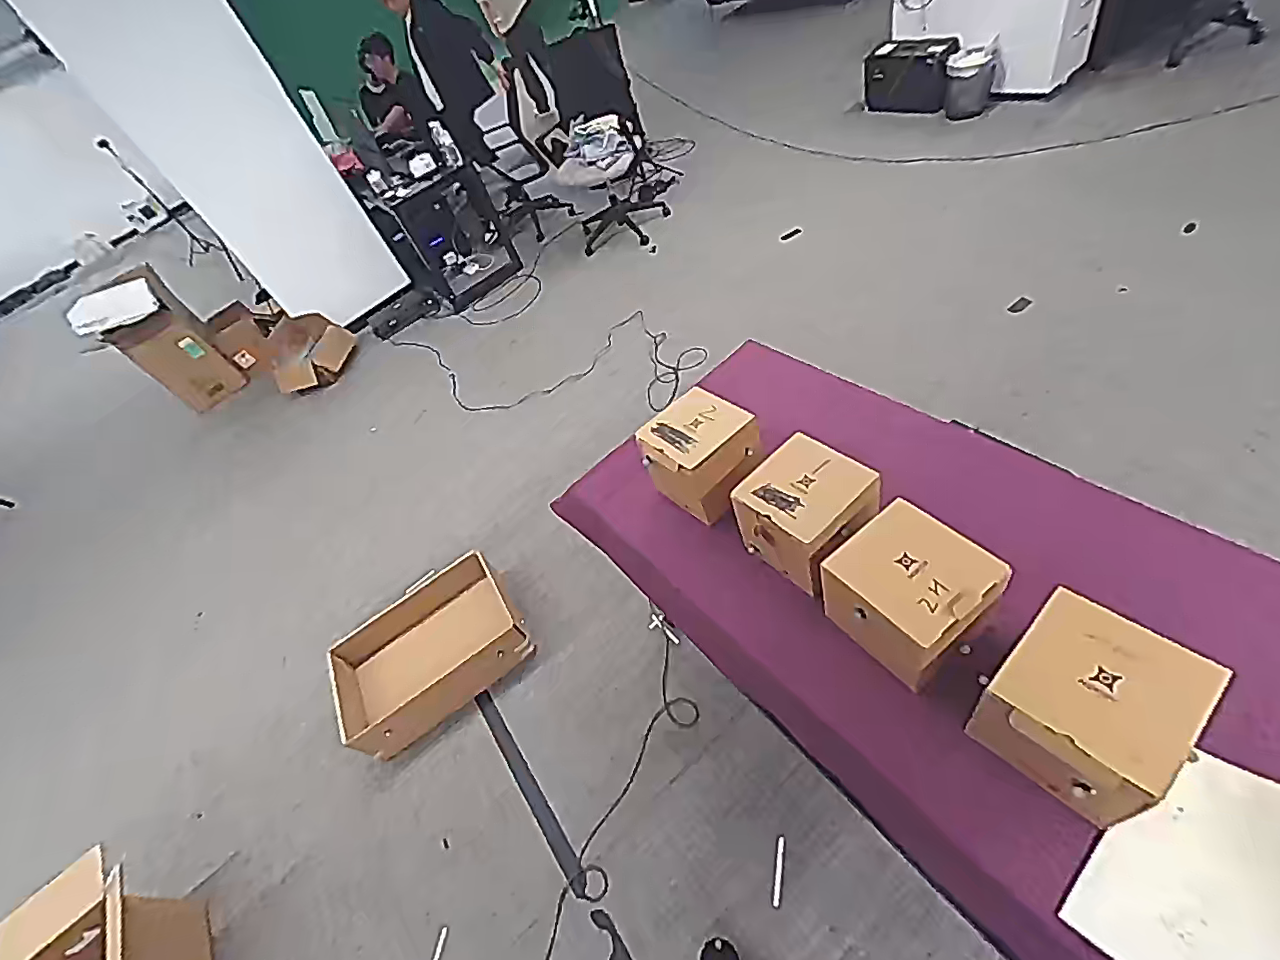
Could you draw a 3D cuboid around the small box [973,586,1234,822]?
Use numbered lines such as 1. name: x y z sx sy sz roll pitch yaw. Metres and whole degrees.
1. small box: 0.530 0.269 0.648 0.179 0.176 0.168 -42 49 -16
